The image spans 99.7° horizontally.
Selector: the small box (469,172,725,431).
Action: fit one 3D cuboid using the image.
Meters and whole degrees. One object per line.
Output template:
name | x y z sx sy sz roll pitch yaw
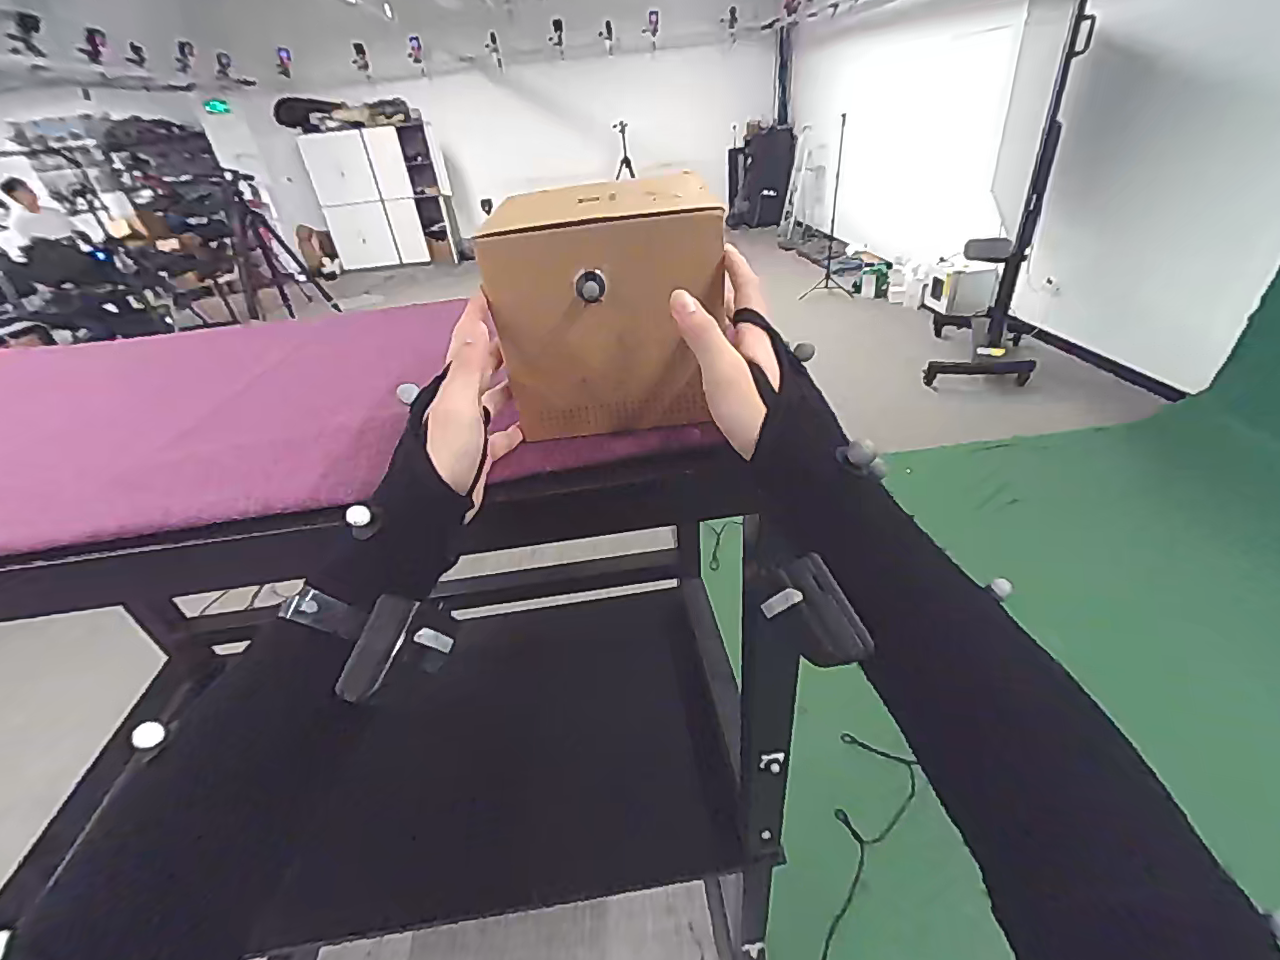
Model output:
small box | -0.025 -0.155 0.475 0.179 0.176 0.168 -6 37 2
